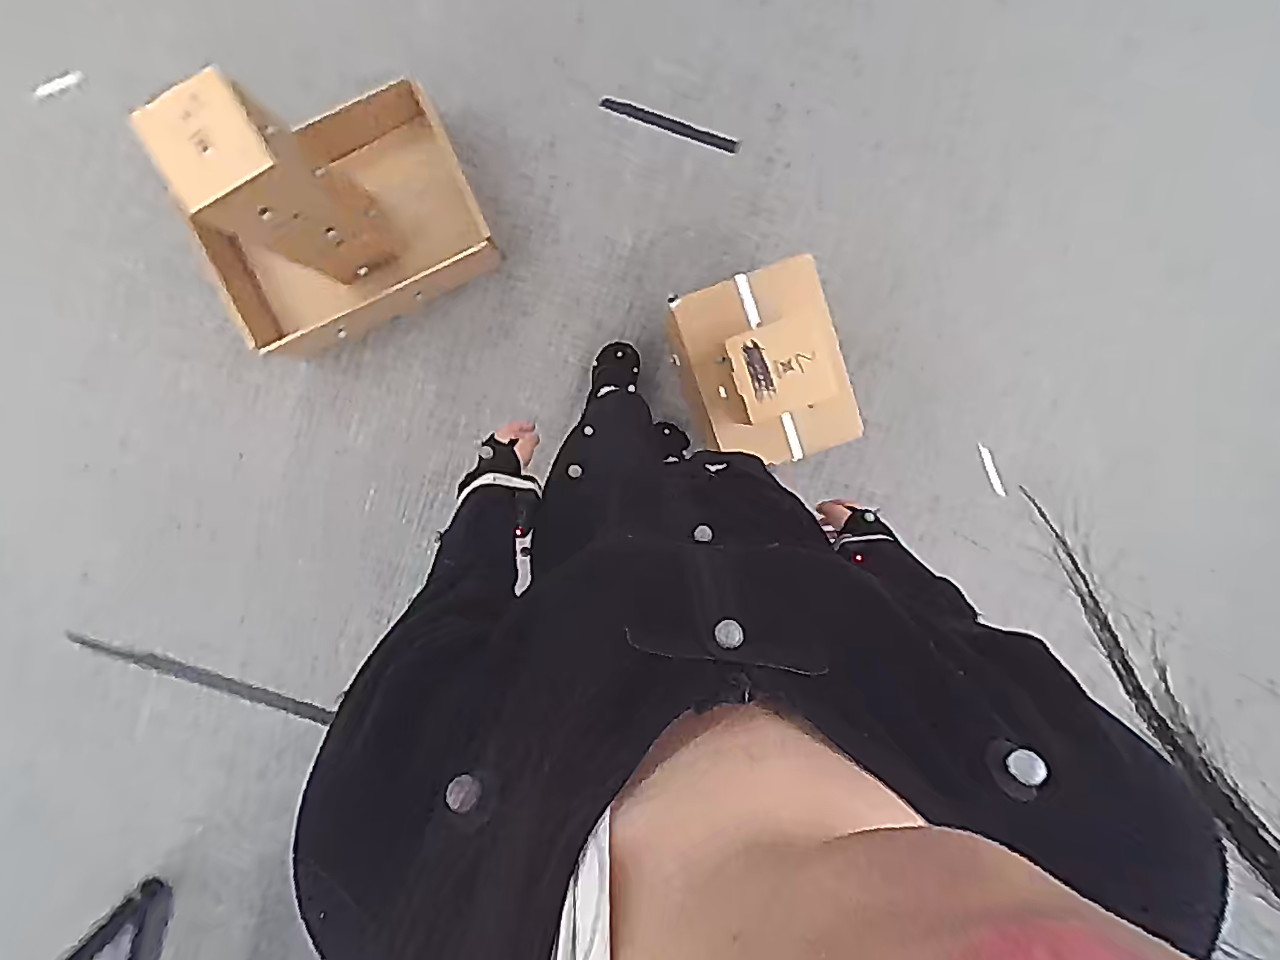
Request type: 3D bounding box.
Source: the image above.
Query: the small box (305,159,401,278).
[{"bbox_3d":[-0.705,-0.605,1.276,0.168,0.176,0.179,-24,98,3],"label":"small box"}]

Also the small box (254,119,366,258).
[{"bbox_3d":[-0.709,-0.584,1.116,0.168,0.176,0.179,-29,96,2],"label":"small box"}]

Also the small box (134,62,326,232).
[{"bbox_3d":[-0.701,-0.564,0.952,0.168,0.176,0.179,-29,97,1],"label":"small box"}]
